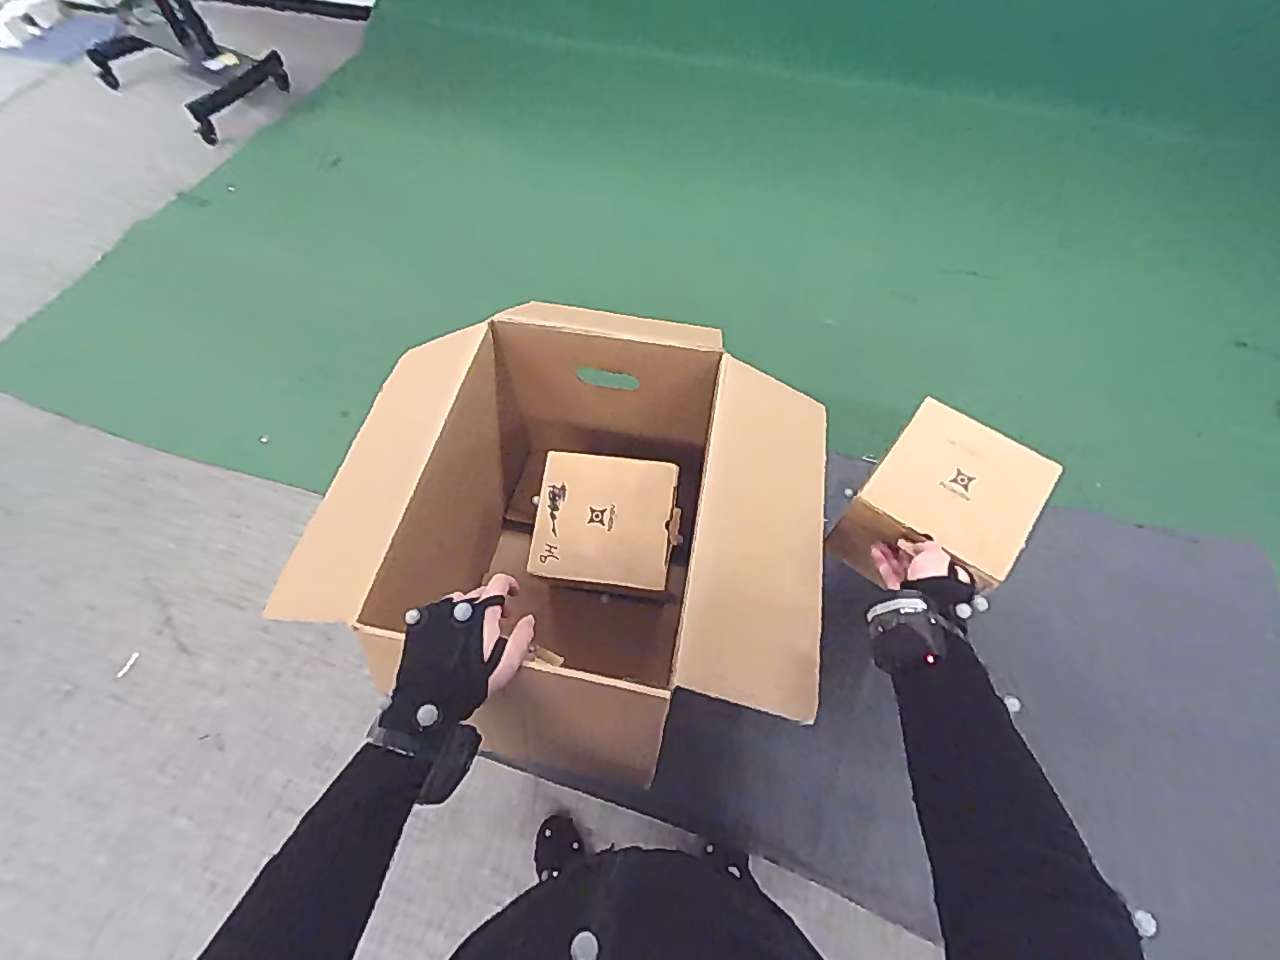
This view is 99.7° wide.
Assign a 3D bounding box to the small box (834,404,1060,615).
[{"bbox_3d":[0.371,0.046,0.689,0.168,0.176,0.179,34,68,17],"label":"small box"}]
